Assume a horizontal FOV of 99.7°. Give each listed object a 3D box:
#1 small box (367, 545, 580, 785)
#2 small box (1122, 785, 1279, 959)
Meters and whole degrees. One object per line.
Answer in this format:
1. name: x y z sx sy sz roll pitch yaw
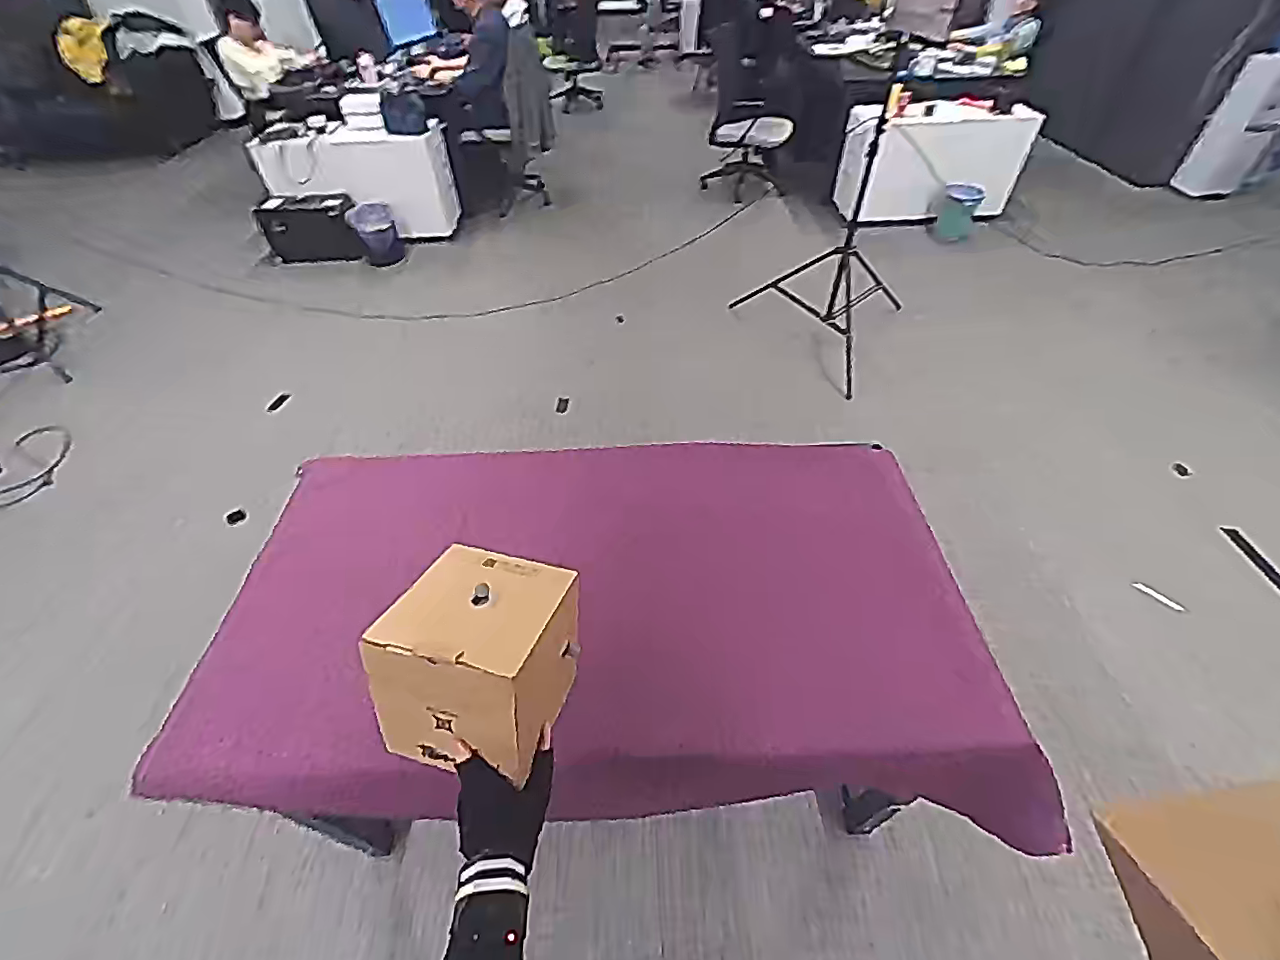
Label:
1. small box: -0.174 0.197 0.617 0.168 0.179 0.176 11 27 12
2. small box: 0.371 0.259 0.239 0.168 0.179 0.176 -20 80 19
